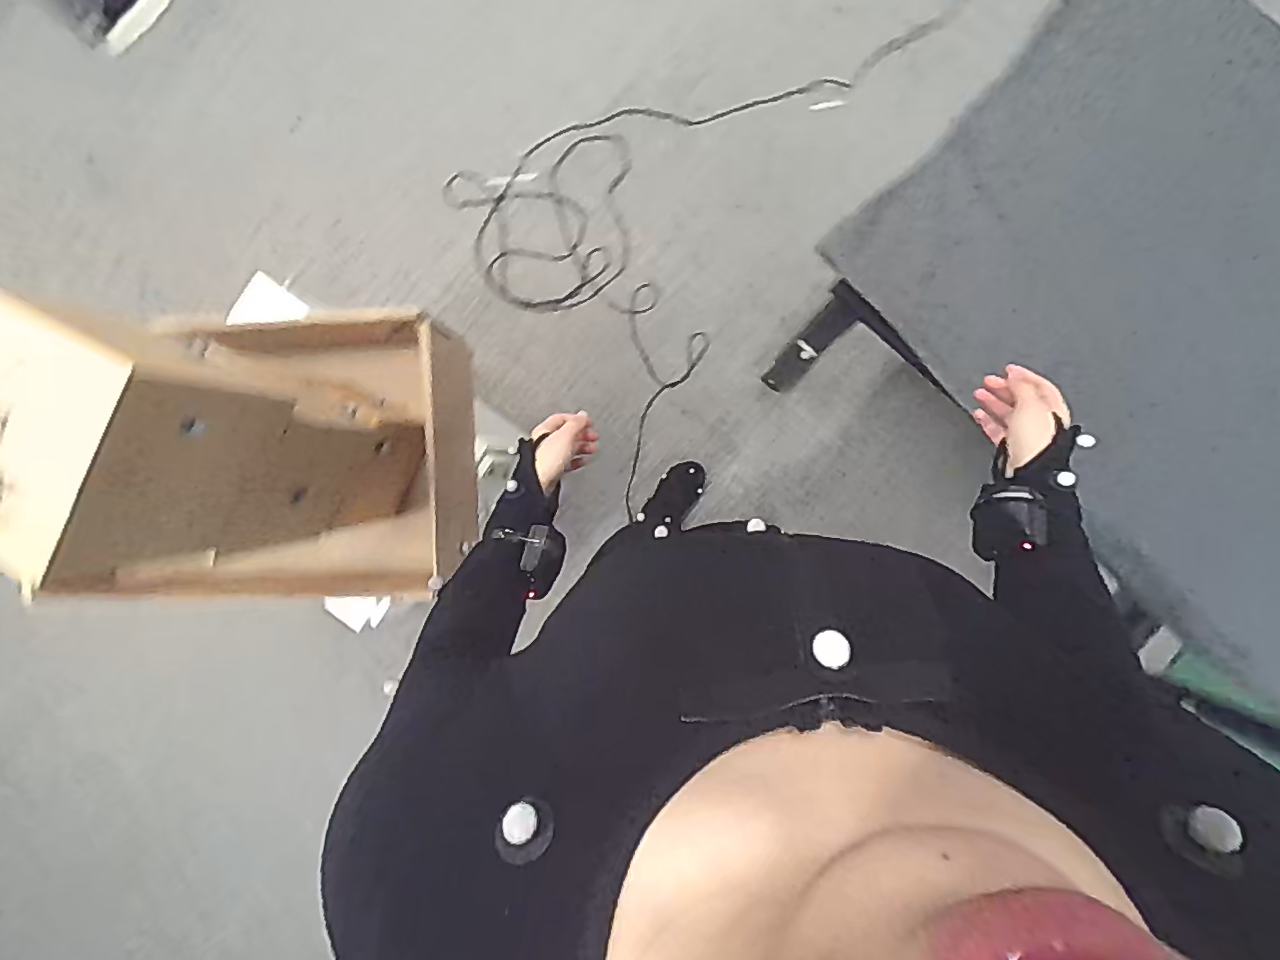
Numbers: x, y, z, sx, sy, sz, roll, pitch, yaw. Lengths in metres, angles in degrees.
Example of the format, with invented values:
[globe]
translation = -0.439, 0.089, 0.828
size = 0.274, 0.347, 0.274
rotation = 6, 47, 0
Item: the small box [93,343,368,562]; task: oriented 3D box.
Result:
[small box]
translation = -0.462, -0.033, 0.642
size = 0.168, 0.176, 0.179
rotation = 32, 96, 3
